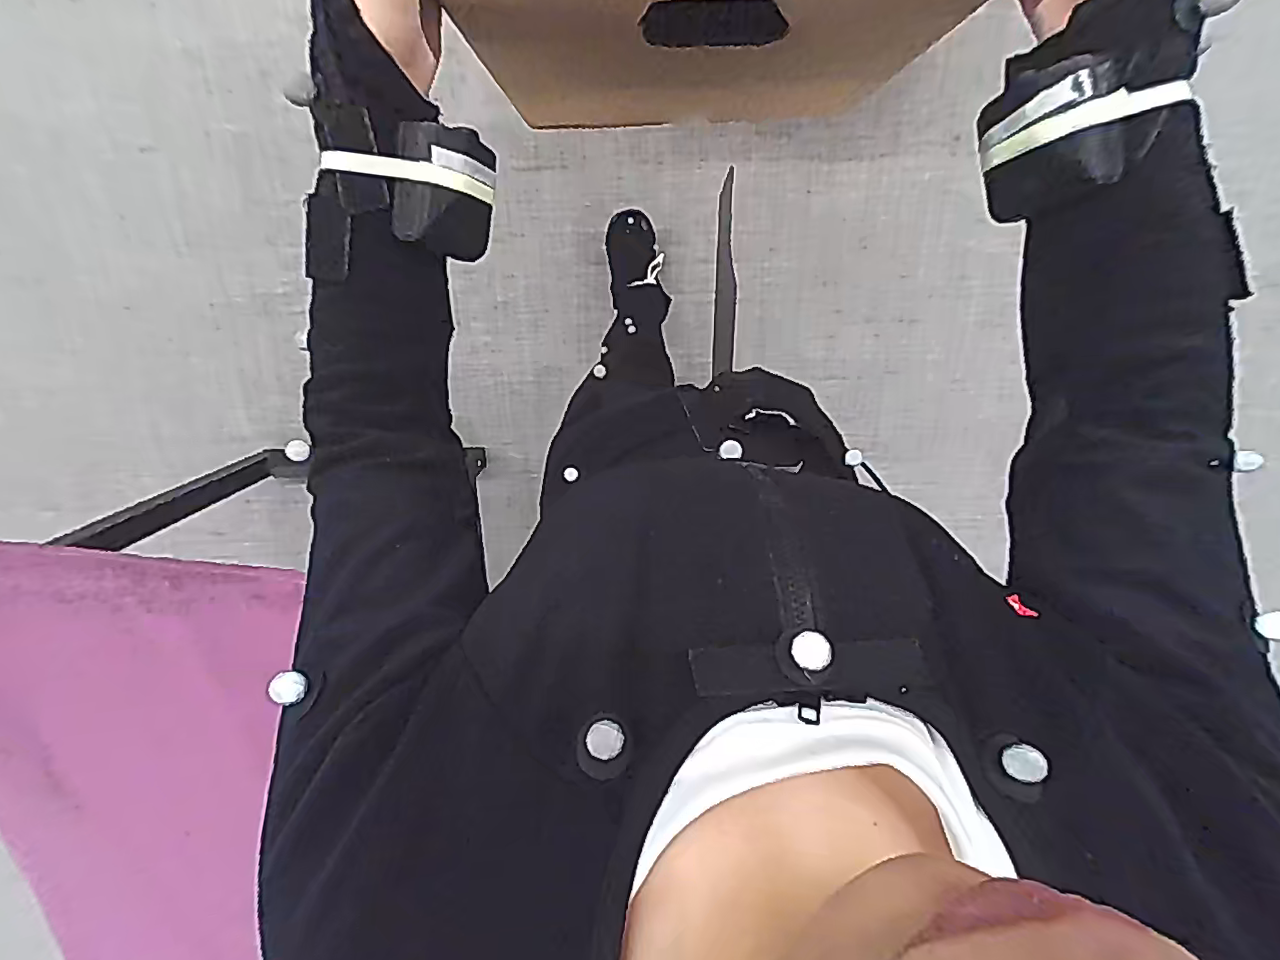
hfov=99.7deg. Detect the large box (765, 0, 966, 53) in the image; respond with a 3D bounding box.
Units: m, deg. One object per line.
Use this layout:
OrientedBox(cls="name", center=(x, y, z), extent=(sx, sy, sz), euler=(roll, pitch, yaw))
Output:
OrientedBox(cls="large box", center=(0.397, -1.012, 0.896), extent=(0.320, 0.320, 0.408), euler=(-2, 110, 1))
